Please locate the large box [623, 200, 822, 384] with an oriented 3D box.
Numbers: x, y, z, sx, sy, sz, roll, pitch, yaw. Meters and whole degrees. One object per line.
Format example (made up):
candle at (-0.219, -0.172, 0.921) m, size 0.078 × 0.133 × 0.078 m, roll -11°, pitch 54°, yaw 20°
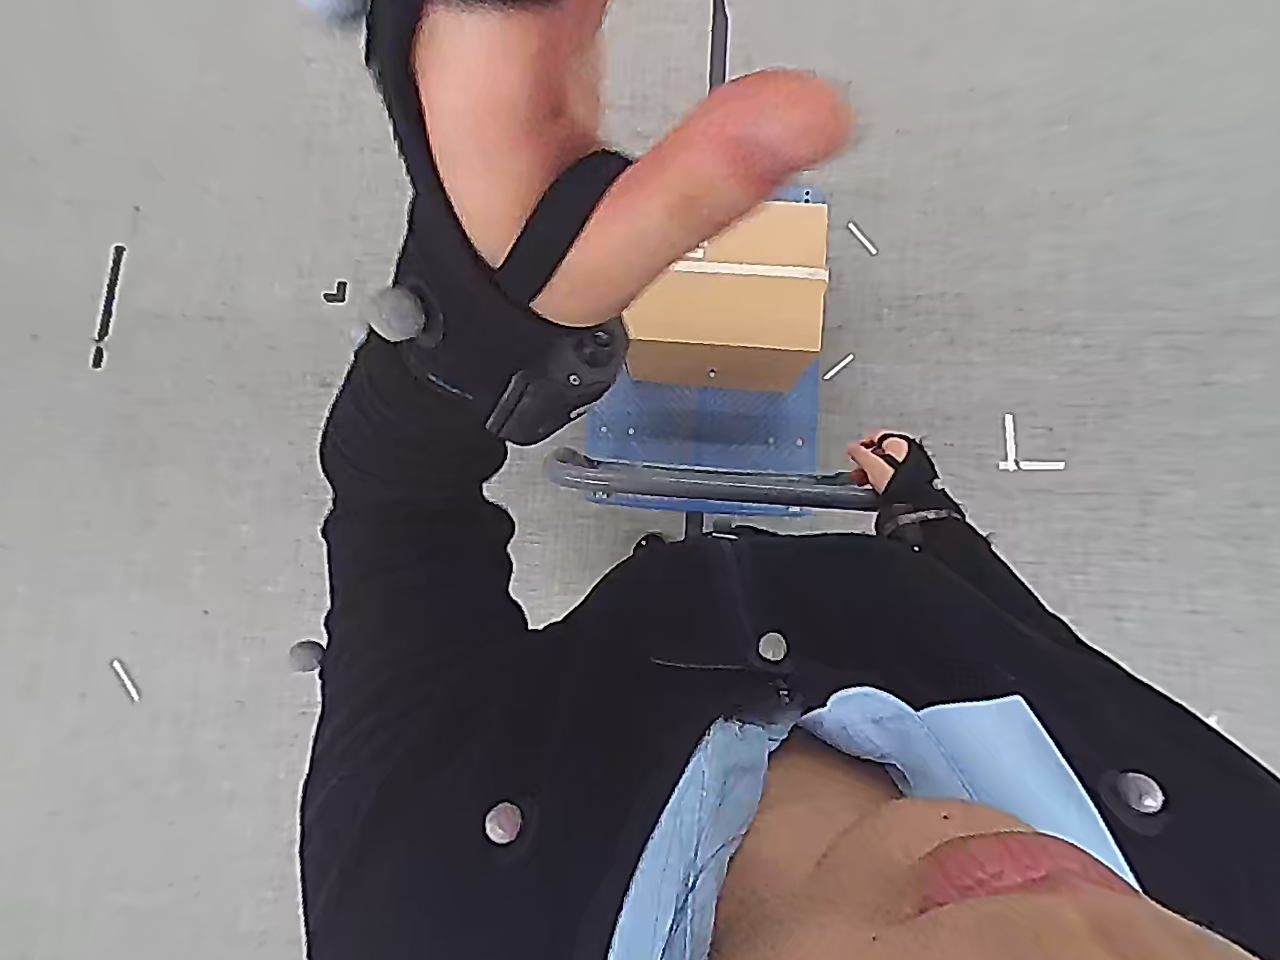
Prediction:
large box at (0.184, -0.419, 1.264) m, size 0.408 × 0.320 × 0.320 m, roll 4°, pitch 84°, yaw 4°
